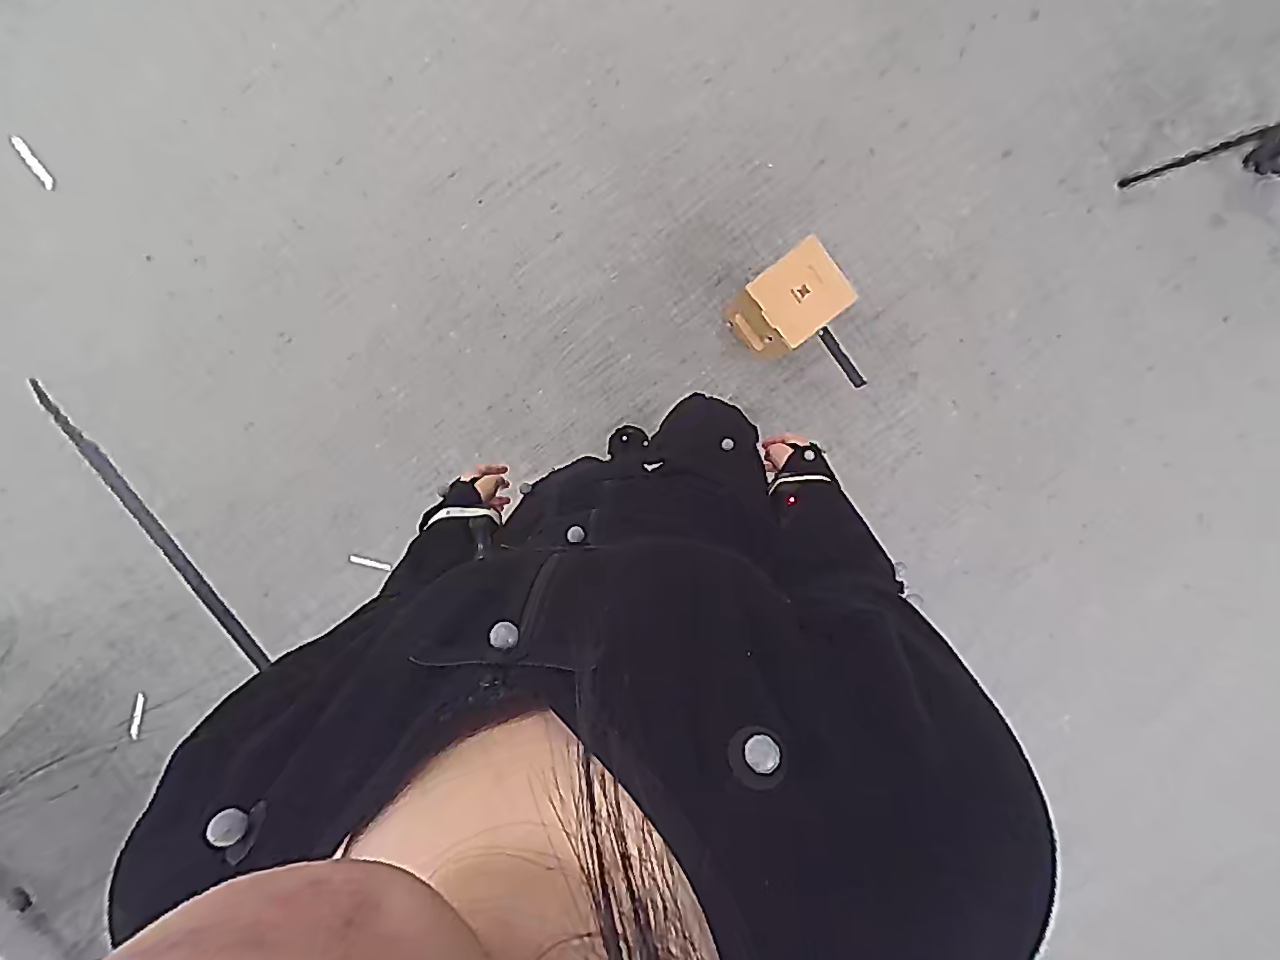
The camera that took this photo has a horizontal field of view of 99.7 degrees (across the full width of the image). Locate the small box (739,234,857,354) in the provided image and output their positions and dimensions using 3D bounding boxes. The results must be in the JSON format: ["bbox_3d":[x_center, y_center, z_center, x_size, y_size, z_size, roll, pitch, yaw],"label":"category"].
[{"bbox_3d":[0.334,-0.395,1.190,0.179,0.176,0.168,-38,96,5],"label":"small box"}]

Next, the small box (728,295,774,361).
[{"bbox_3d":[0.335,-0.417,1.352,0.179,0.176,0.168,-37,95,5],"label":"small box"}]
